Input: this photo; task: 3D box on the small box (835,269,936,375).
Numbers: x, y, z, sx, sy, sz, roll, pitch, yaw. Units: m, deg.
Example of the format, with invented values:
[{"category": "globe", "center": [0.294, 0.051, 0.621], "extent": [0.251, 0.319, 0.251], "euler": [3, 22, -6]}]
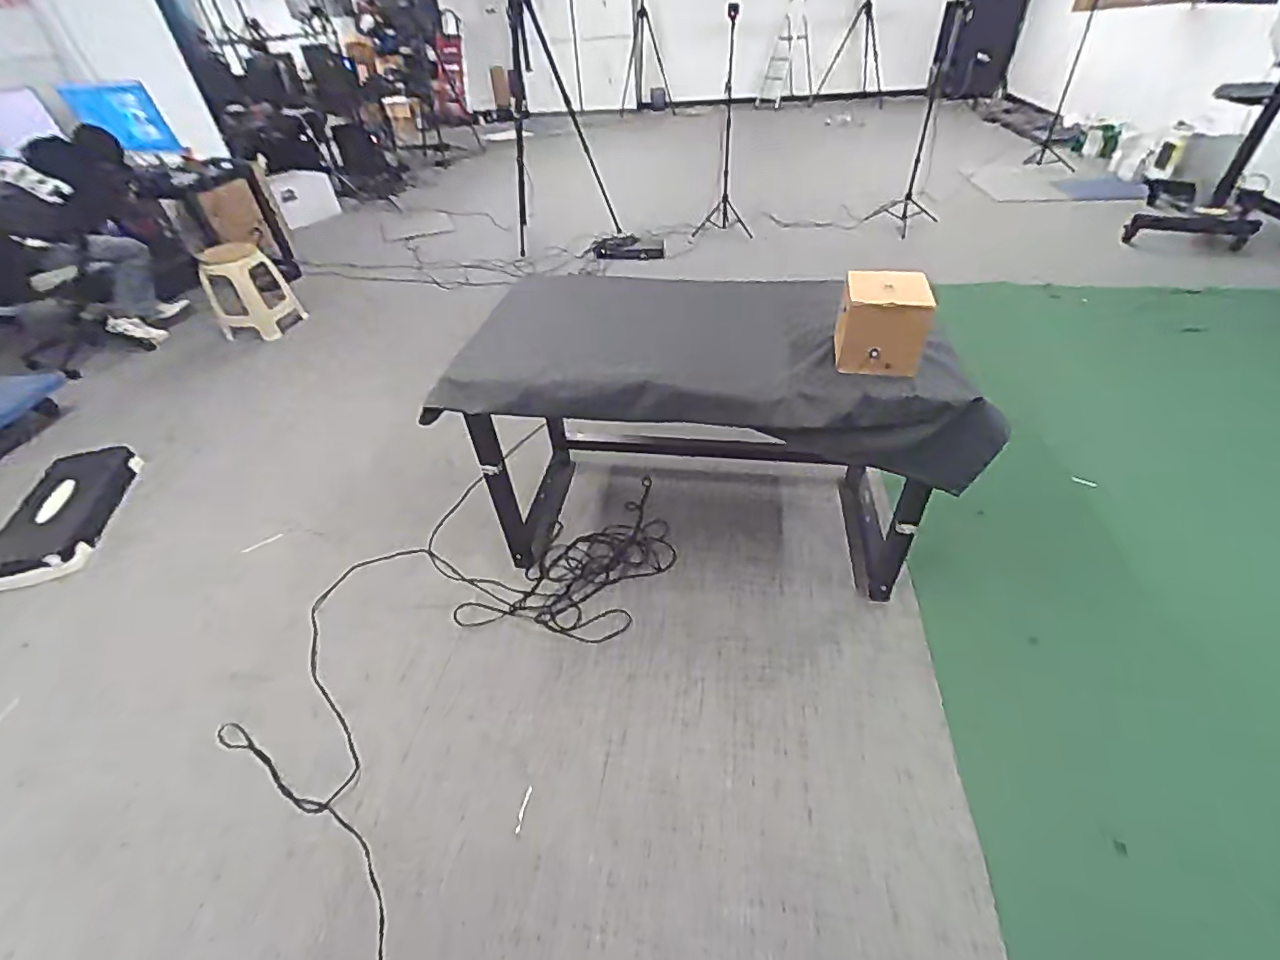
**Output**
[{"category": "small box", "center": [0.538, -0.357, 1.211], "extent": [0.168, 0.176, 0.179], "euler": [6, 43, 12]}]
